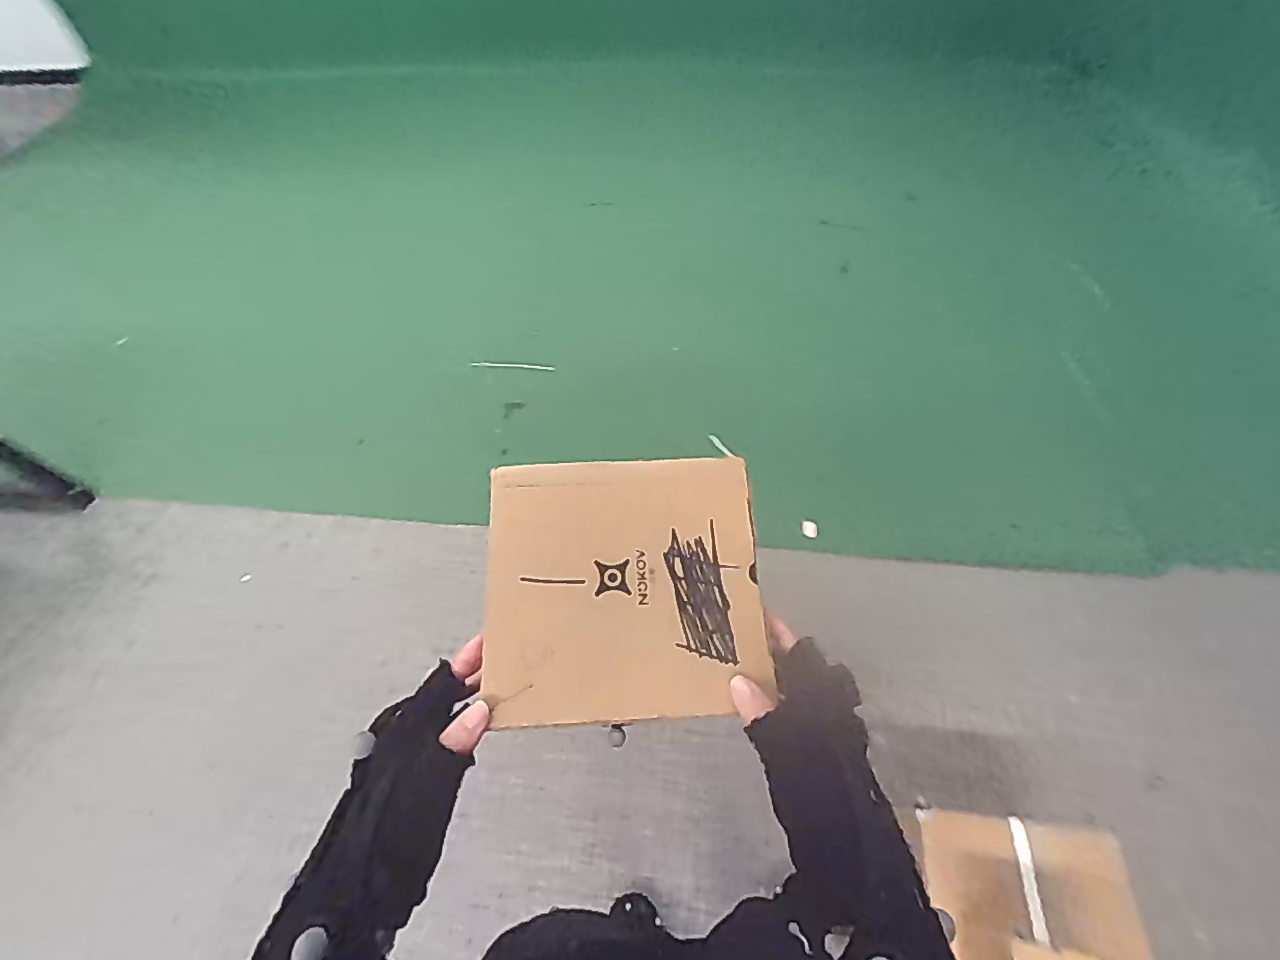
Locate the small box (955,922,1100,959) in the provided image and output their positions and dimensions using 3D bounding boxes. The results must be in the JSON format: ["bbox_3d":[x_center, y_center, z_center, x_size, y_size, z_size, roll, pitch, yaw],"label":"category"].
[{"bbox_3d":[0.537,0.719,0.712,0.168,0.176,0.179,8,59,11],"label":"small box"}]

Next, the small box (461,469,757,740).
[{"bbox_3d":[-0.025,0.100,0.417,0.179,0.176,0.168,-3,67,-4],"label":"small box"}]
